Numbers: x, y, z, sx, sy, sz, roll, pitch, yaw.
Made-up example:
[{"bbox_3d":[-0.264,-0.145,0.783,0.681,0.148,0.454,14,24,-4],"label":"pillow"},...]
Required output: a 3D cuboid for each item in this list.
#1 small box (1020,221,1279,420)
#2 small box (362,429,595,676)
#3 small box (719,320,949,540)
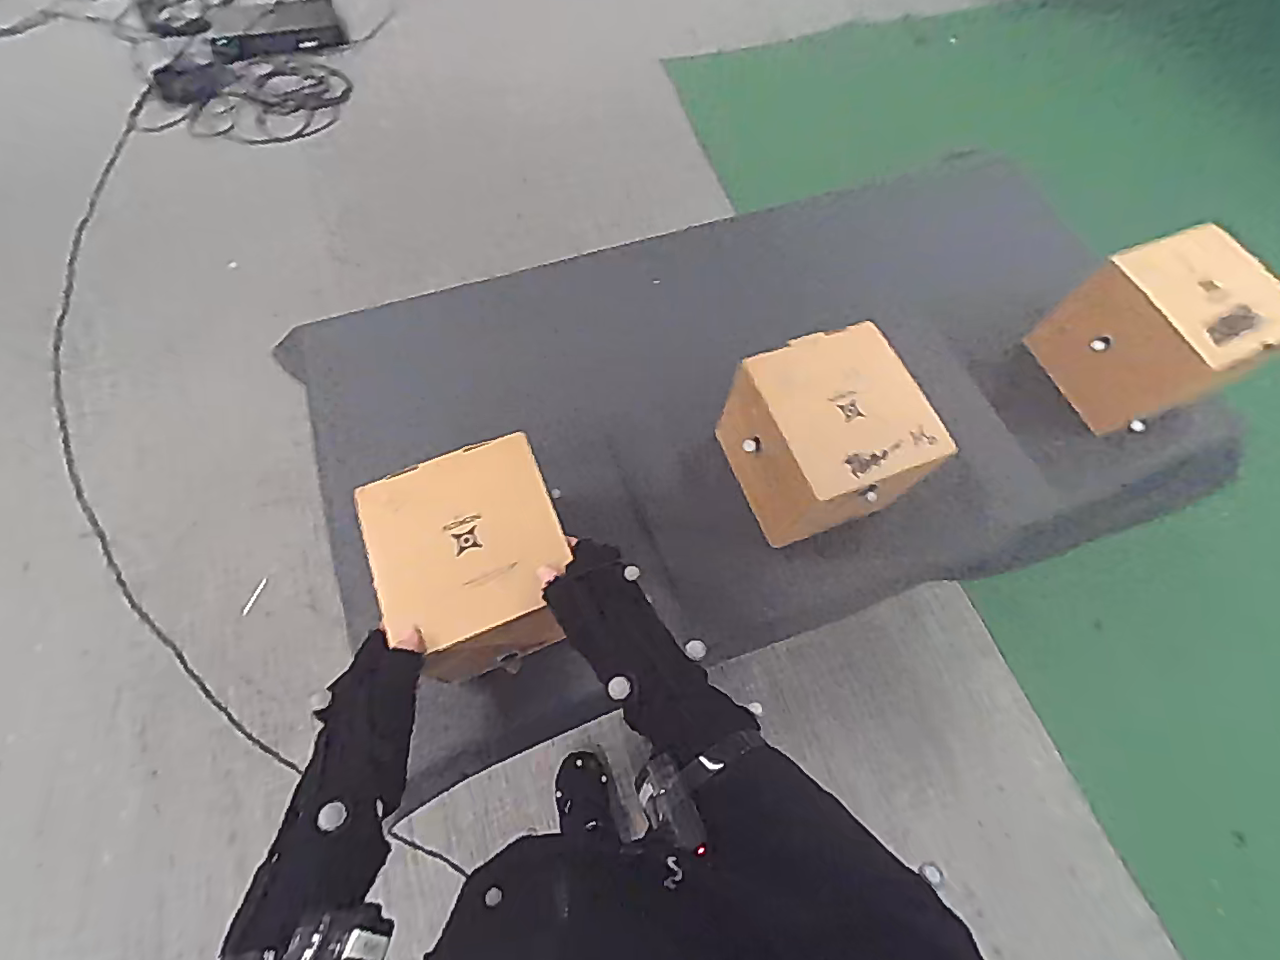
[{"bbox_3d":[0.670,-0.199,0.720,0.168,0.176,0.179,-19,68,-8],"label":"small box"},{"bbox_3d":[-0.155,0.082,0.560,0.168,0.176,0.179,-22,67,-11],"label":"small box"},{"bbox_3d":[0.208,-0.052,0.642,0.168,0.176,0.179,-19,69,-10],"label":"small box"}]
